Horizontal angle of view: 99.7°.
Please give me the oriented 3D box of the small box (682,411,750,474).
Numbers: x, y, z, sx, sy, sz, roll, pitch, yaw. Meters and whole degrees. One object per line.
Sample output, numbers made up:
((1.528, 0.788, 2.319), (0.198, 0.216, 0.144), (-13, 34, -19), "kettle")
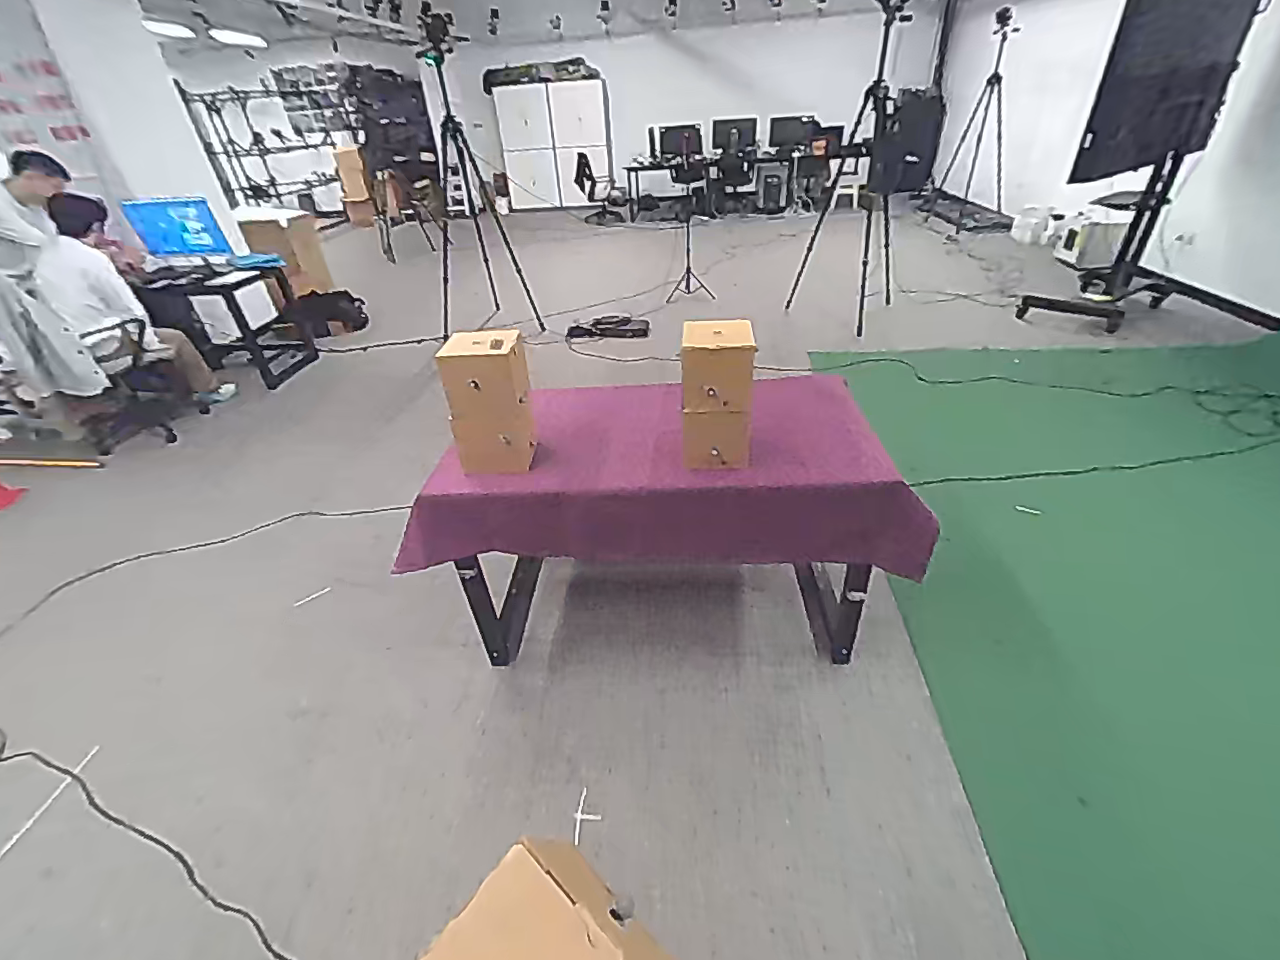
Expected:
((0.196, -0.132, 1.412), (0.168, 0.176, 0.179), (0, 35, 7), "small box")

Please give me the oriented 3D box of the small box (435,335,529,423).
((-0.387, -0.255, 1.365), (0.179, 0.176, 0.168), (-2, 34, 2), "small box")

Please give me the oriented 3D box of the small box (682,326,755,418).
((0.188, -0.266, 1.320), (0.168, 0.176, 0.179), (0, 36, 6), "small box")
